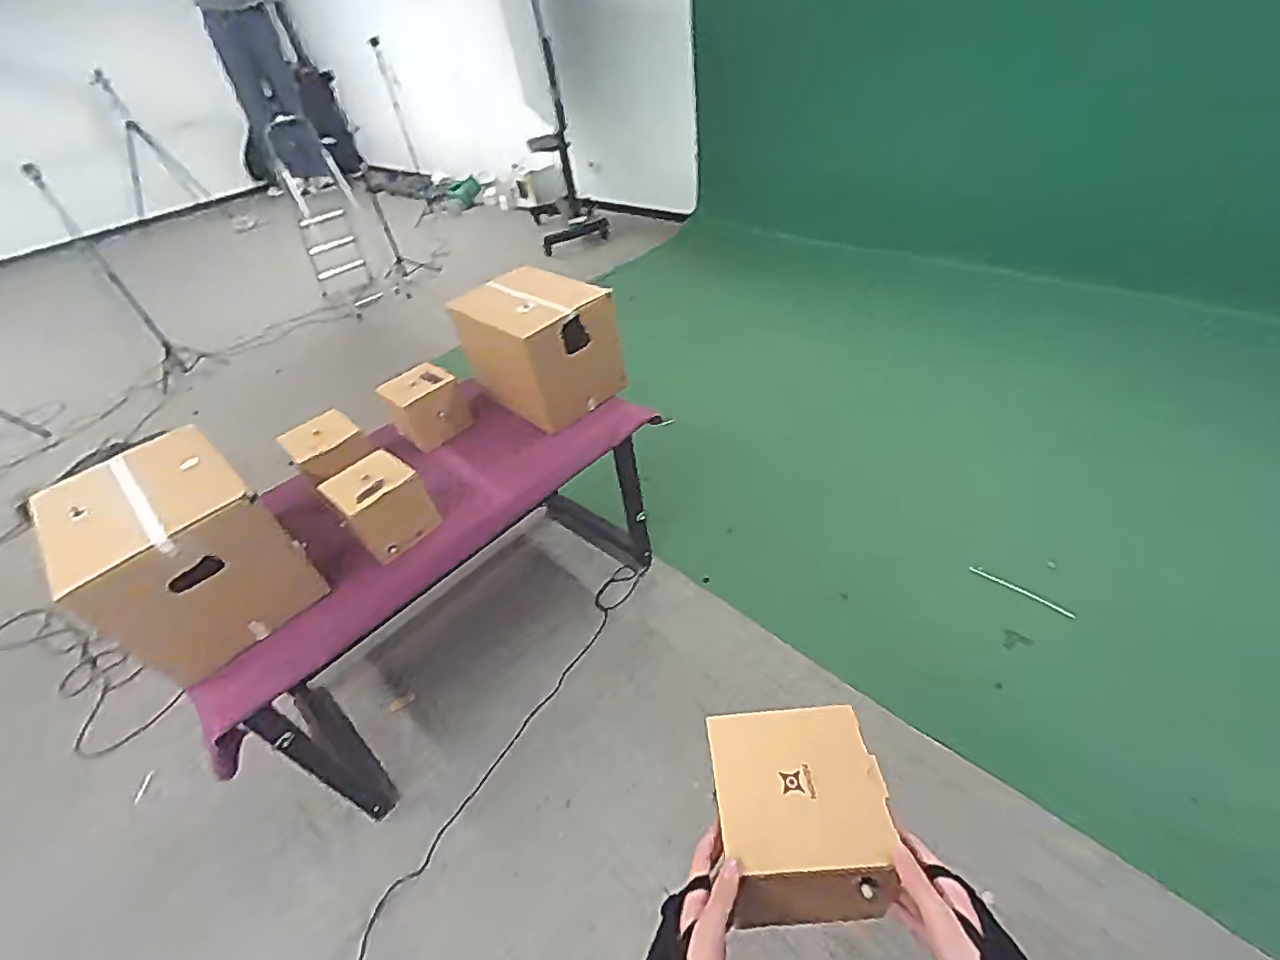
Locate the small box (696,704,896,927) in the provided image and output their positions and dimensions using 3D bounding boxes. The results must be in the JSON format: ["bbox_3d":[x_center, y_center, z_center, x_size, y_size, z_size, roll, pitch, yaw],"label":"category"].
[{"bbox_3d":[0.165,0.386,0.623,0.179,0.176,0.168,-6,36,2],"label":"small box"}]

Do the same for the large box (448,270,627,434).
[{"bbox_3d":[-0.298,-0.395,1.628,0.408,0.320,0.320,30,56,34],"label":"large box"}]
